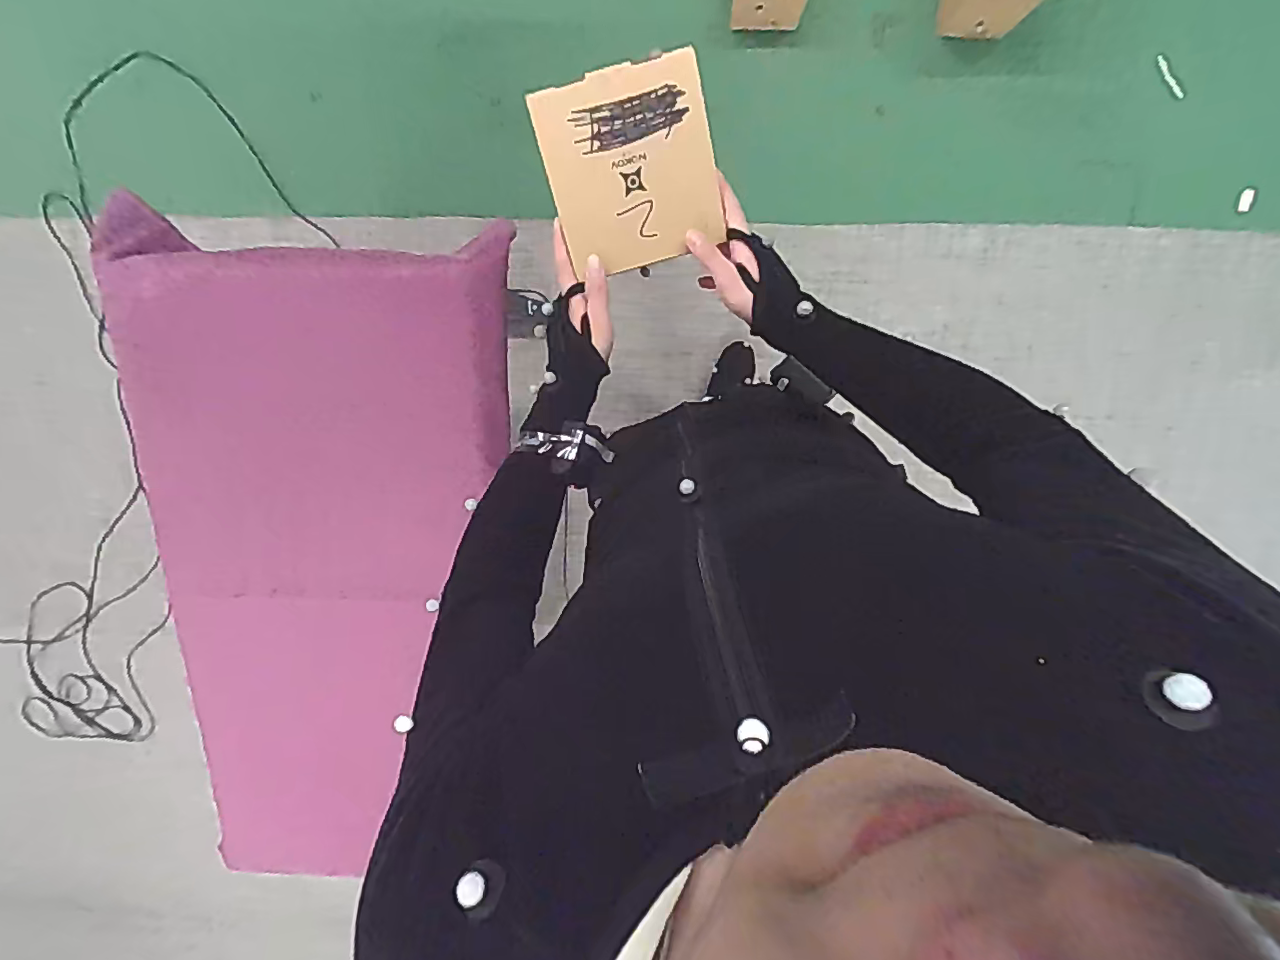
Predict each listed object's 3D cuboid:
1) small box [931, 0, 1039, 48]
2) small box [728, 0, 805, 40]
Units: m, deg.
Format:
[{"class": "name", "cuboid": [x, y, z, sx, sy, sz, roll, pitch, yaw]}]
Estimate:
[{"class": "small box", "cuboid": [0.801, -1.146, 1.246, 0.168, 0.176, 0.179, 3, 103, 2]}, {"class": "small box", "cuboid": [0.299, -1.173, 1.265, 0.168, 0.176, 0.179, 2, 102, 2]}]
